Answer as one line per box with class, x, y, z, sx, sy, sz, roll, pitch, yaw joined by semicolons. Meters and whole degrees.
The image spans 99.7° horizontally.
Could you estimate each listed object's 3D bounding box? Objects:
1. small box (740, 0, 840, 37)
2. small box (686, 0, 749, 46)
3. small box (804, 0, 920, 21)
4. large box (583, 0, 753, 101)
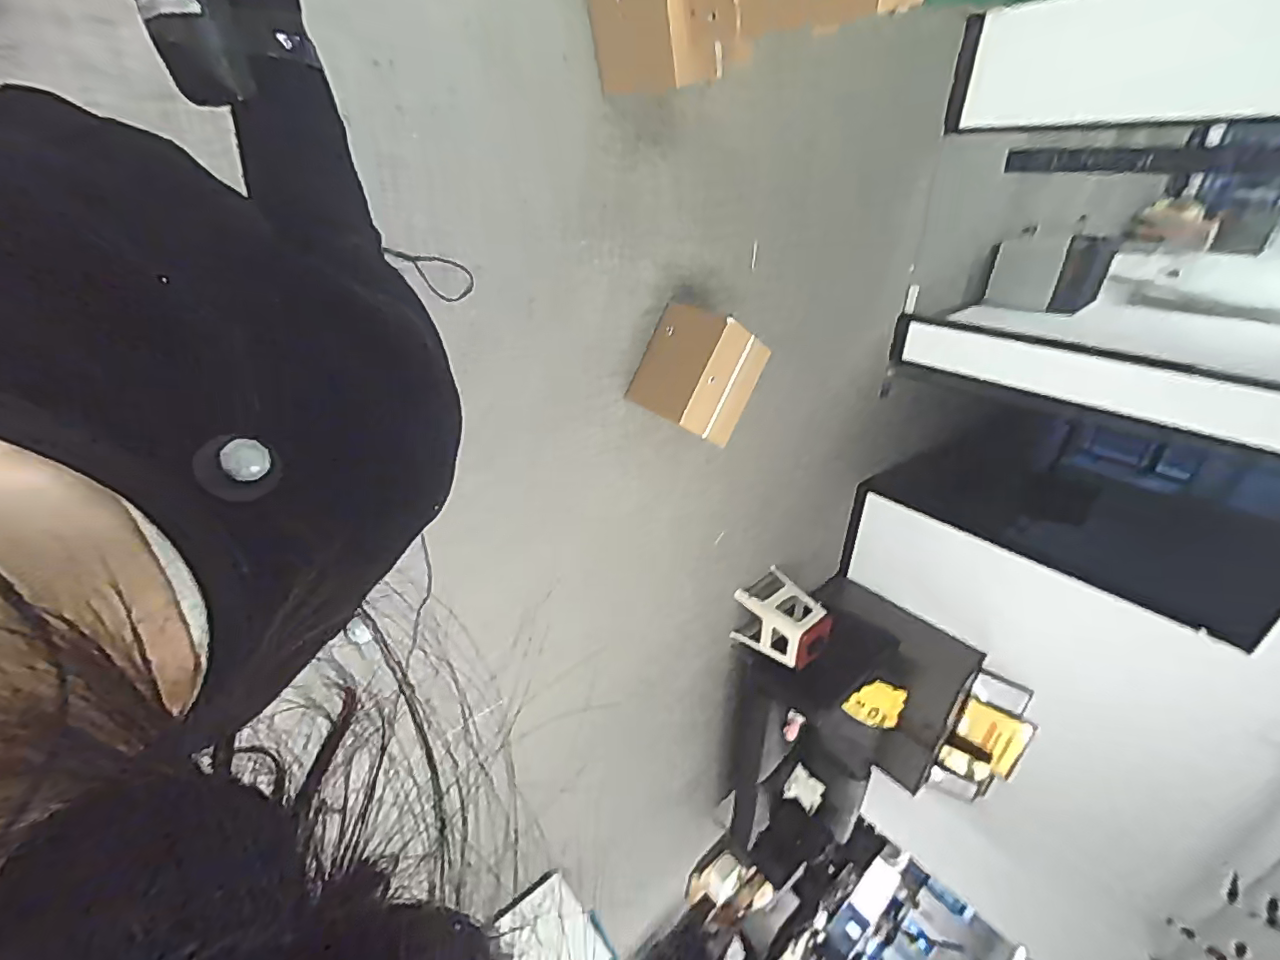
small box;0.326;-1.071;1.151;0.168;0.176;0.179;-36;133;-24
small box;0.217;-1.134;1.256;0.179;0.176;0.168;-35;133;-26
small box;0.434;-1.011;1.042;0.168;0.176;0.179;-35;134;-25
large box;0.060;-1.266;1.396;0.320;0.320;0.408;-36;132;-26
